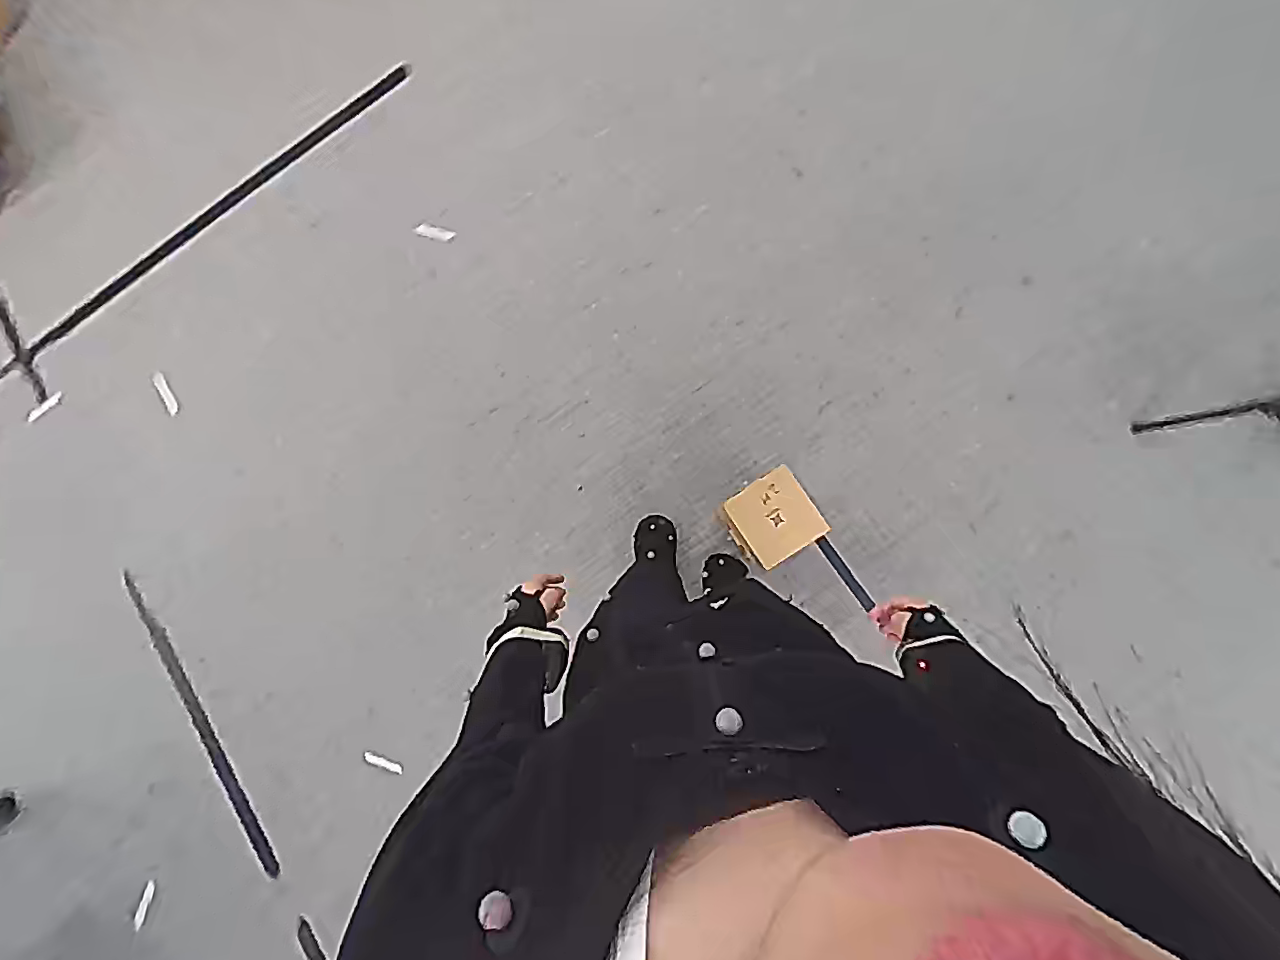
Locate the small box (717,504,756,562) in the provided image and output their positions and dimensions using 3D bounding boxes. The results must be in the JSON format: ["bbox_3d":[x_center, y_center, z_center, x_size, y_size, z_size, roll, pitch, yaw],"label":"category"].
[{"bbox_3d":[0.318,0.096,1.409,0.179,0.176,0.168,-33,83,4],"label":"small box"}]

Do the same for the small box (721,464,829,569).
[{"bbox_3d":[0.302,0.084,1.243,0.168,0.176,0.179,-33,82,3],"label":"small box"}]
